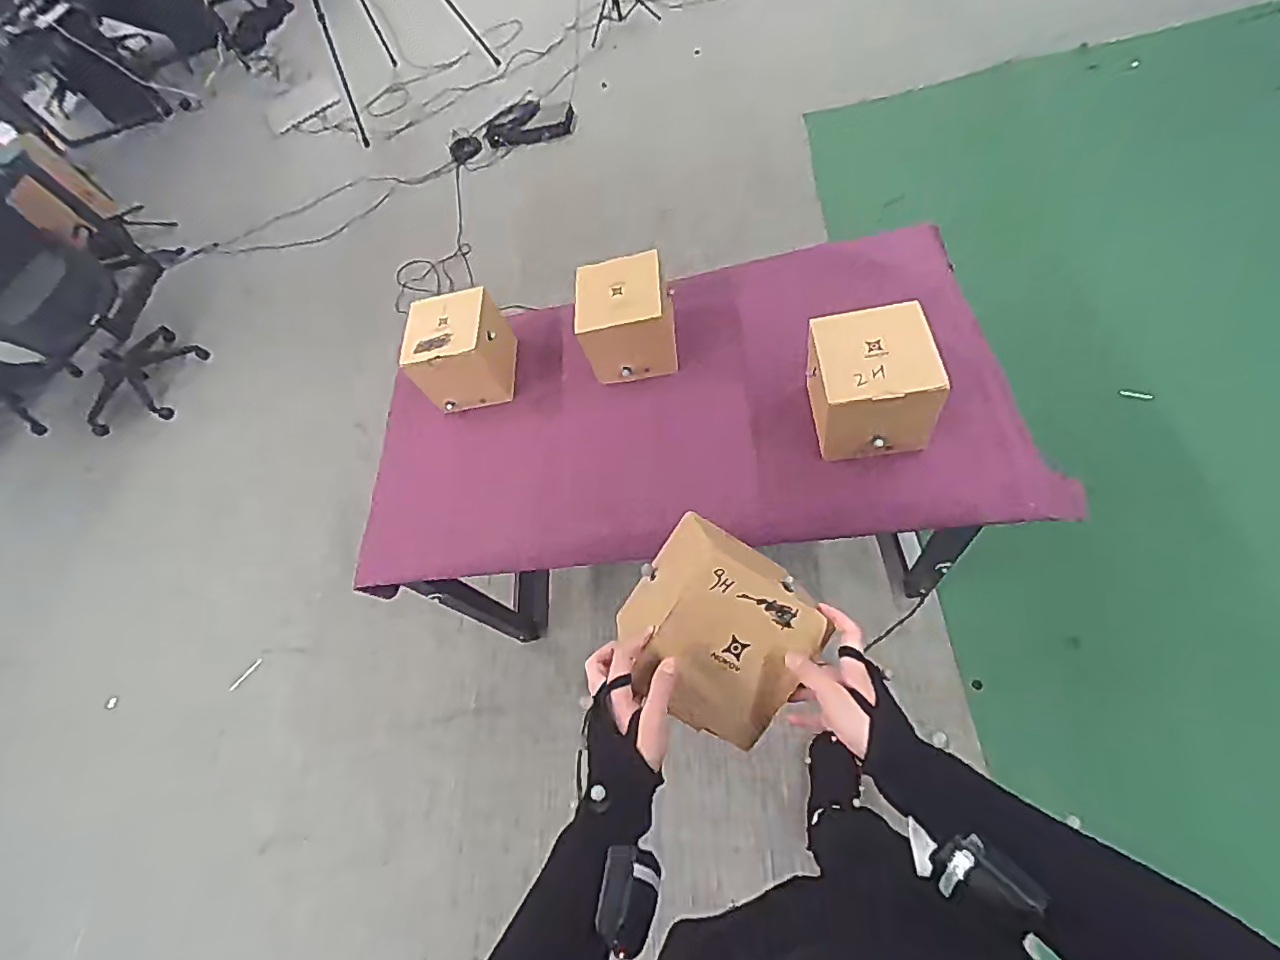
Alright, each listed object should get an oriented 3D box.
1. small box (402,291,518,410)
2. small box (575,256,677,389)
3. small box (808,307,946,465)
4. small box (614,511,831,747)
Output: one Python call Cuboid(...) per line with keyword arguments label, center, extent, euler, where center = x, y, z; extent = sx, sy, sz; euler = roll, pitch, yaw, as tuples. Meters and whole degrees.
Cuboid(label="small box", center=(-0.371, -0.264, 1.149), extent=(0.168, 0.176, 0.179), euler=(-8, 60, 10))
Cuboid(label="small box", center=(-0.022, -0.309, 1.081), extent=(0.168, 0.176, 0.179), euler=(-8, 61, 12))
Cuboid(label="small box", center=(0.371, -0.147, 0.881), extent=(0.168, 0.176, 0.179), euler=(-7, 59, 13))
Cuboid(label="small box", center=(0.085, 0.164, 0.645), extent=(0.168, 0.176, 0.179), euler=(34, 97, -8))
